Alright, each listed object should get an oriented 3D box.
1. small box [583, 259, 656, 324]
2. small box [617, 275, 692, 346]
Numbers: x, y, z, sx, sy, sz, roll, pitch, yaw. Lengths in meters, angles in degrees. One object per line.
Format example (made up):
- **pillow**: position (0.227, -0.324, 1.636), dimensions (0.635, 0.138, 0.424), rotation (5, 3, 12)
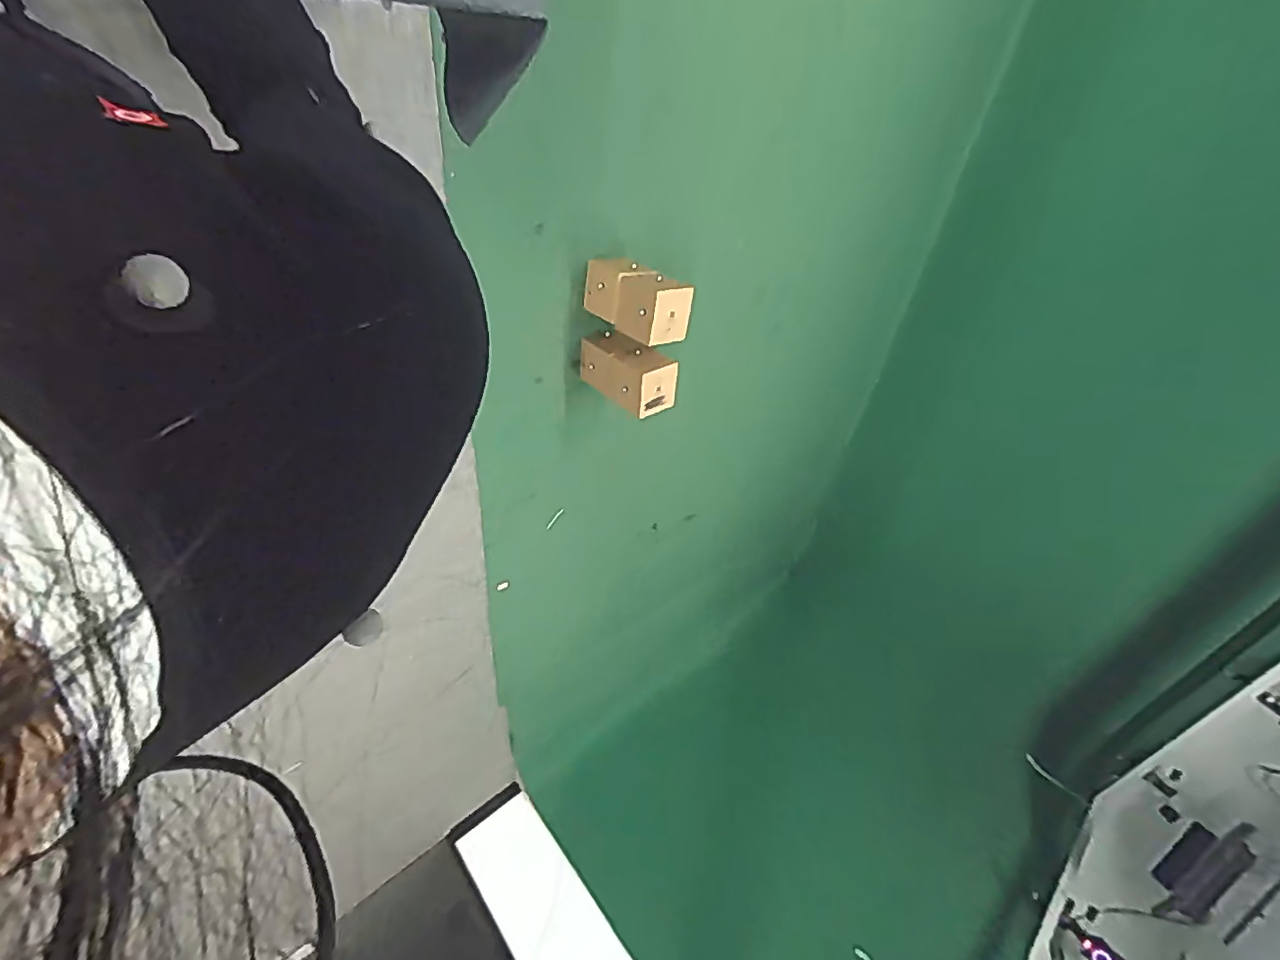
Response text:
- **small box**: position (-0.074, -0.640, 1.829), dimensions (0.179, 0.176, 0.168), rotation (-20, 134, -39)
- **small box**: position (0.042, -0.554, 1.747), dimensions (0.168, 0.176, 0.179), rotation (-21, 134, -38)
